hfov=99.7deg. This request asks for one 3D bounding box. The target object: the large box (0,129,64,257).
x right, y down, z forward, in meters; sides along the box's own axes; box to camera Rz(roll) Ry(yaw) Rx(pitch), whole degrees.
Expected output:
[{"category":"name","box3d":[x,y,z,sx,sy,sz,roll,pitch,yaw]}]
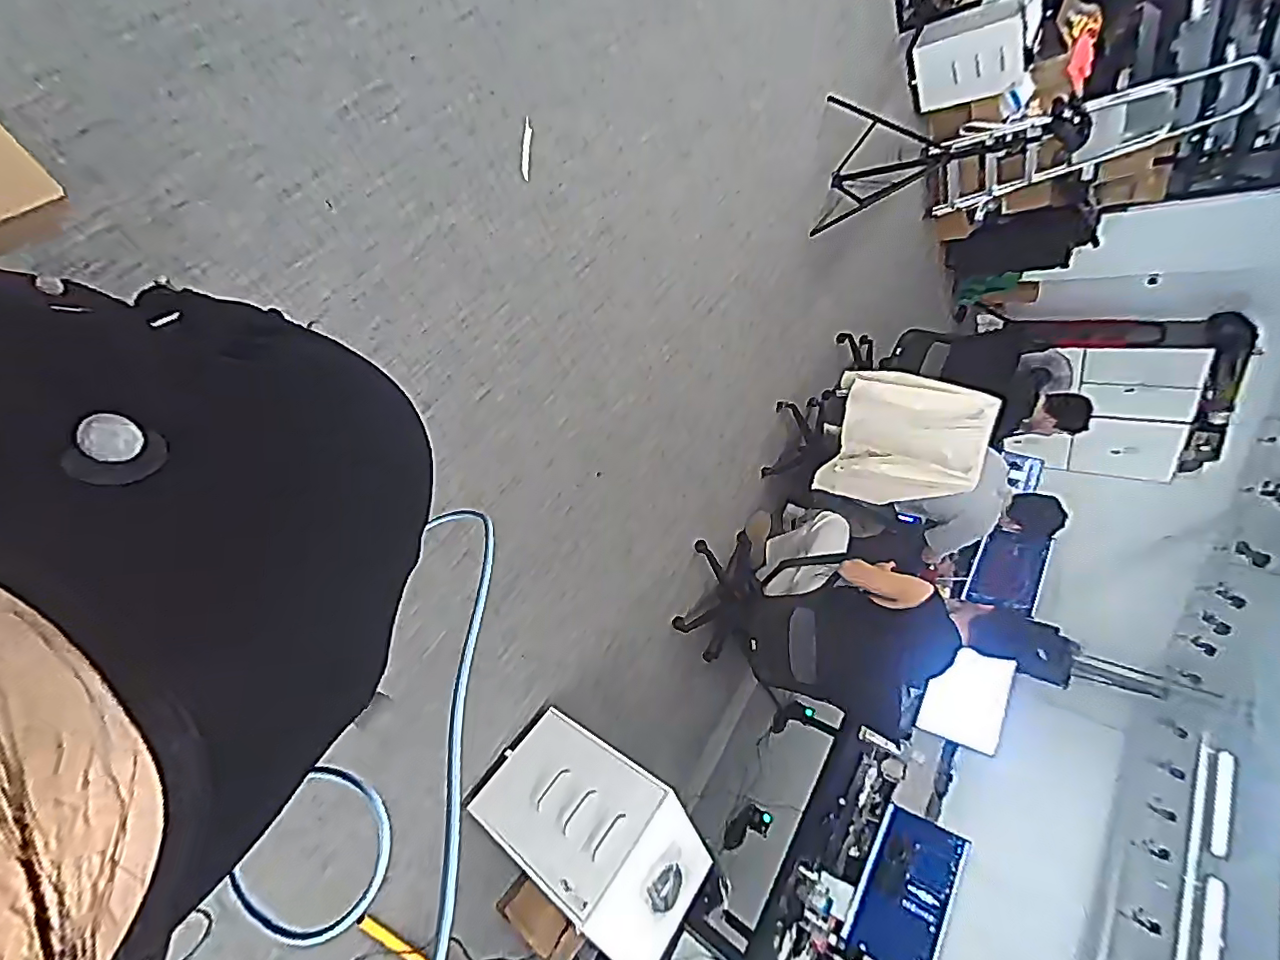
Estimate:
[{"category":"large box","box3d":[-1.054,-0.376,0.648,0.408,0.320,0.320,-50,133,-28]}]
